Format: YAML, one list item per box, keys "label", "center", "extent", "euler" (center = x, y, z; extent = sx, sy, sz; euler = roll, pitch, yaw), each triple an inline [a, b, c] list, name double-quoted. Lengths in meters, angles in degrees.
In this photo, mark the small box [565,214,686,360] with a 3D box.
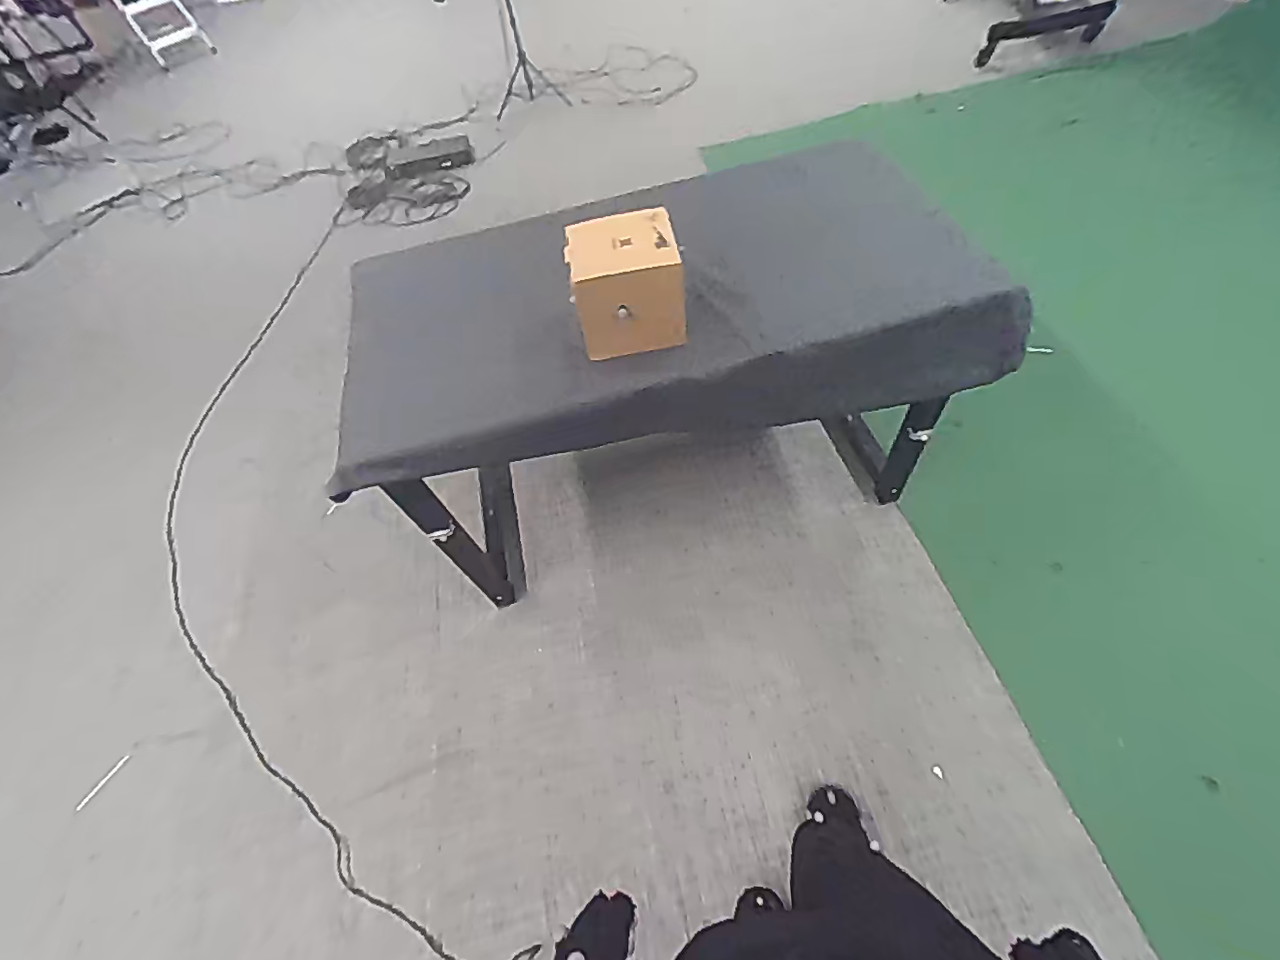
- label: "small box"
  center: [-0.023, -0.334, 0.956]
  extent: [0.179, 0.176, 0.168]
  euler: [-12, 54, 0]
